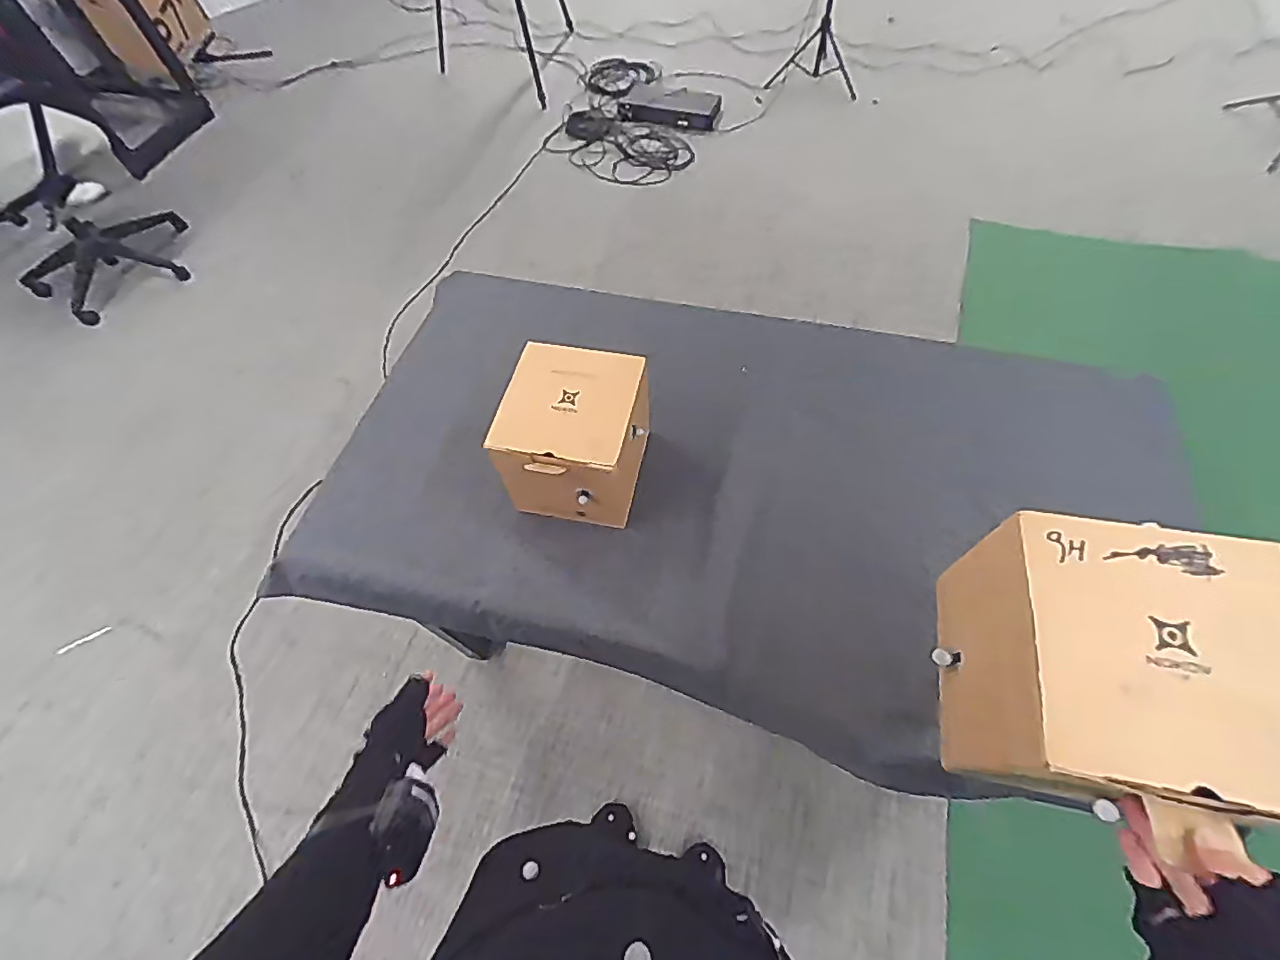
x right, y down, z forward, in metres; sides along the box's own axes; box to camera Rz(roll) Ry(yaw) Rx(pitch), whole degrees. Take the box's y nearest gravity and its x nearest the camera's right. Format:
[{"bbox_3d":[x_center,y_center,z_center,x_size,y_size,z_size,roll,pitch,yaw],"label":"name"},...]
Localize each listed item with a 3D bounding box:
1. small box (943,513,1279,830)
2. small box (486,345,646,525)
[{"bbox_3d":[0.352,0.146,0.415,0.168,0.176,0.179,8,64,11],"label":"small box"},{"bbox_3d":[-0.086,-0.056,0.742,0.168,0.176,0.179,9,60,7],"label":"small box"}]
